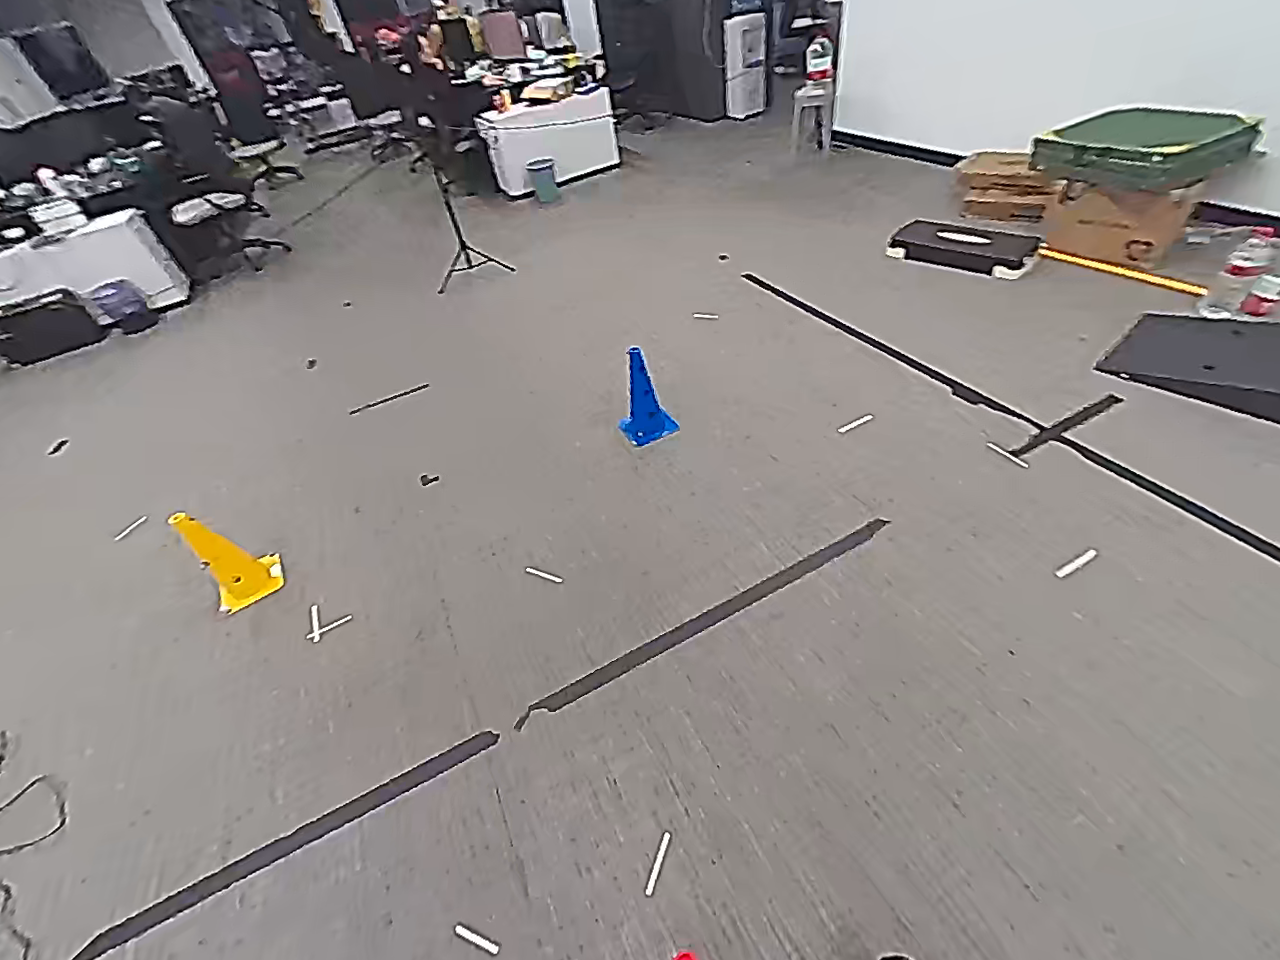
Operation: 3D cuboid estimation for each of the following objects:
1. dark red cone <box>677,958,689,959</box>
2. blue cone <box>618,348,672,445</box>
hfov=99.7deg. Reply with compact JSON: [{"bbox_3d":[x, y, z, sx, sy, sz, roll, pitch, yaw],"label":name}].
[{"bbox_3d":[0.032,0.863,0.807,0.202,0.394,0.201,-31,45,-19],"label":"dark red cone"},{"bbox_3d":[-0.004,-0.334,2.097,0.193,0.380,0.192,-25,44,-13],"label":"blue cone"}]
